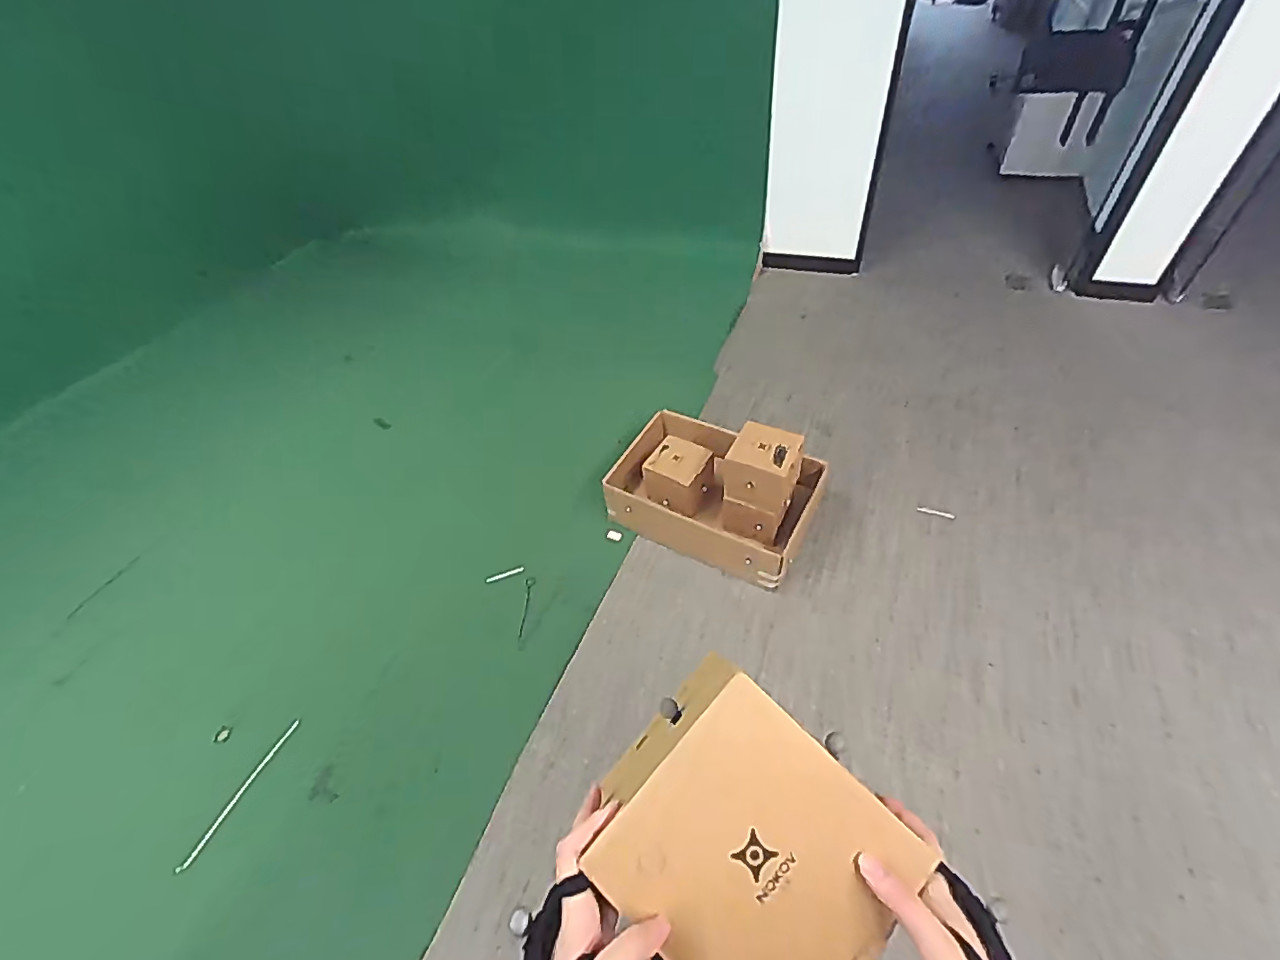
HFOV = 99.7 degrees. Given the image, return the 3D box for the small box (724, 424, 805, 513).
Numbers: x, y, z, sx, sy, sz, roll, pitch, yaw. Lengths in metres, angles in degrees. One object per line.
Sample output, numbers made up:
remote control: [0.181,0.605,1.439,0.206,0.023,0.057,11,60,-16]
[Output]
small box: [0.353,-0.028,1.547,0.179,0.176,0.168,19,55,24]
